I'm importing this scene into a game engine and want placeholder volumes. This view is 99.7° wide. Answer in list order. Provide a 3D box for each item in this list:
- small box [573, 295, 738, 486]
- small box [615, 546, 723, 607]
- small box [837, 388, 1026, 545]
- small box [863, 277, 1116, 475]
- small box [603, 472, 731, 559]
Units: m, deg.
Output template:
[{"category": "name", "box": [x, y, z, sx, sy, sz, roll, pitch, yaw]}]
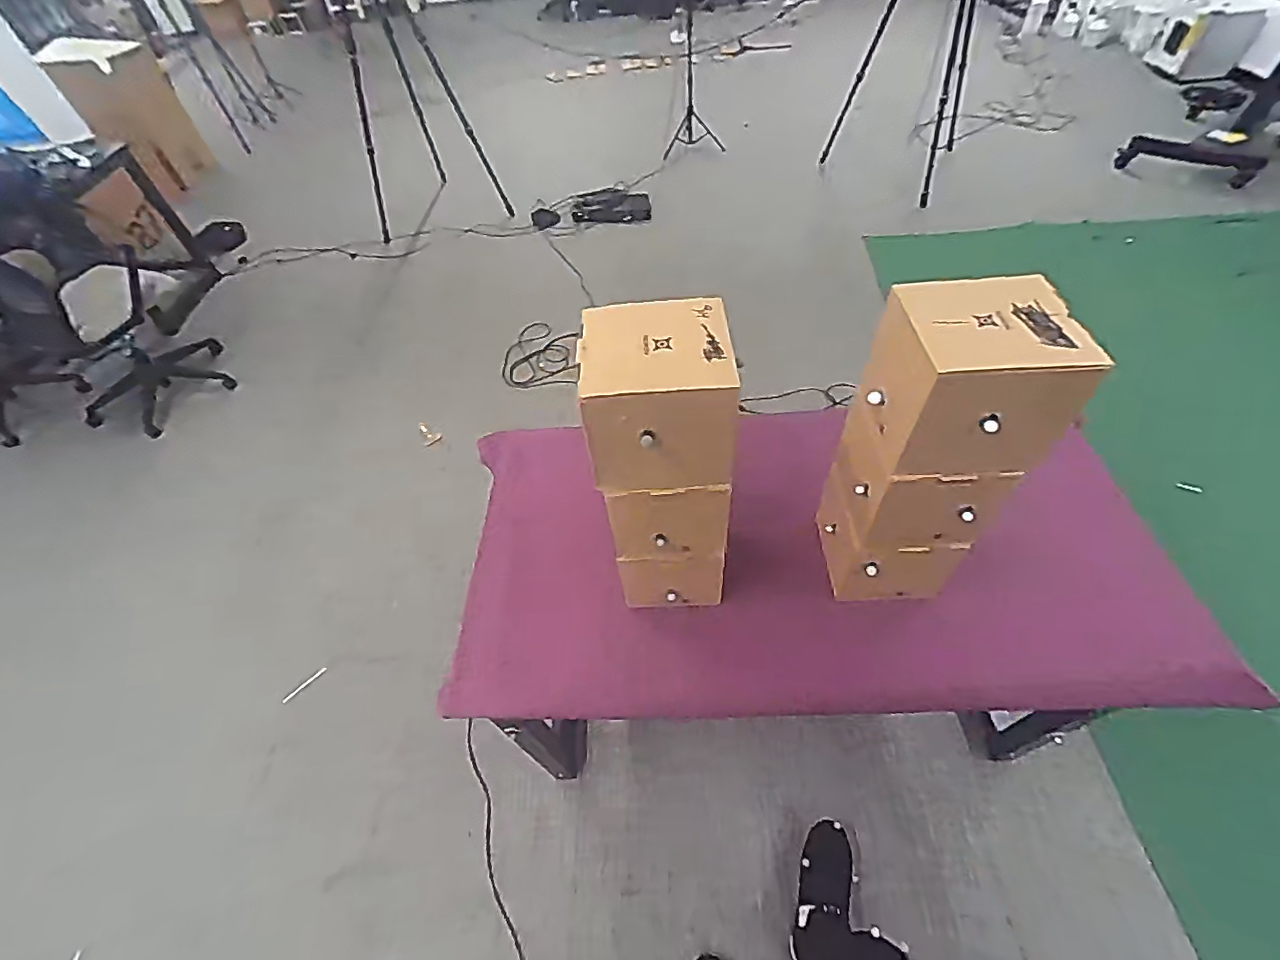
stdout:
[{"category": "small box", "box": [0.022, -0.105, 0.671, 0.179, 0.176, 0.168, -4, 52, 3]}, {"category": "small box", "box": [0.050, 0.101, 0.923, 0.168, 0.176, 0.179, -2, 52, 4]}, {"category": "small box", "box": [0.396, -0.016, 0.774, 0.168, 0.176, 0.179, -2, 51, 3]}, {"category": "small box", "box": [0.392, -0.120, 0.648, 0.179, 0.176, 0.168, -2, 51, 4]}, {"category": "small box", "box": [0.038, -0.002, 0.798, 0.168, 0.176, 0.179, -3, 52, 2]}]
